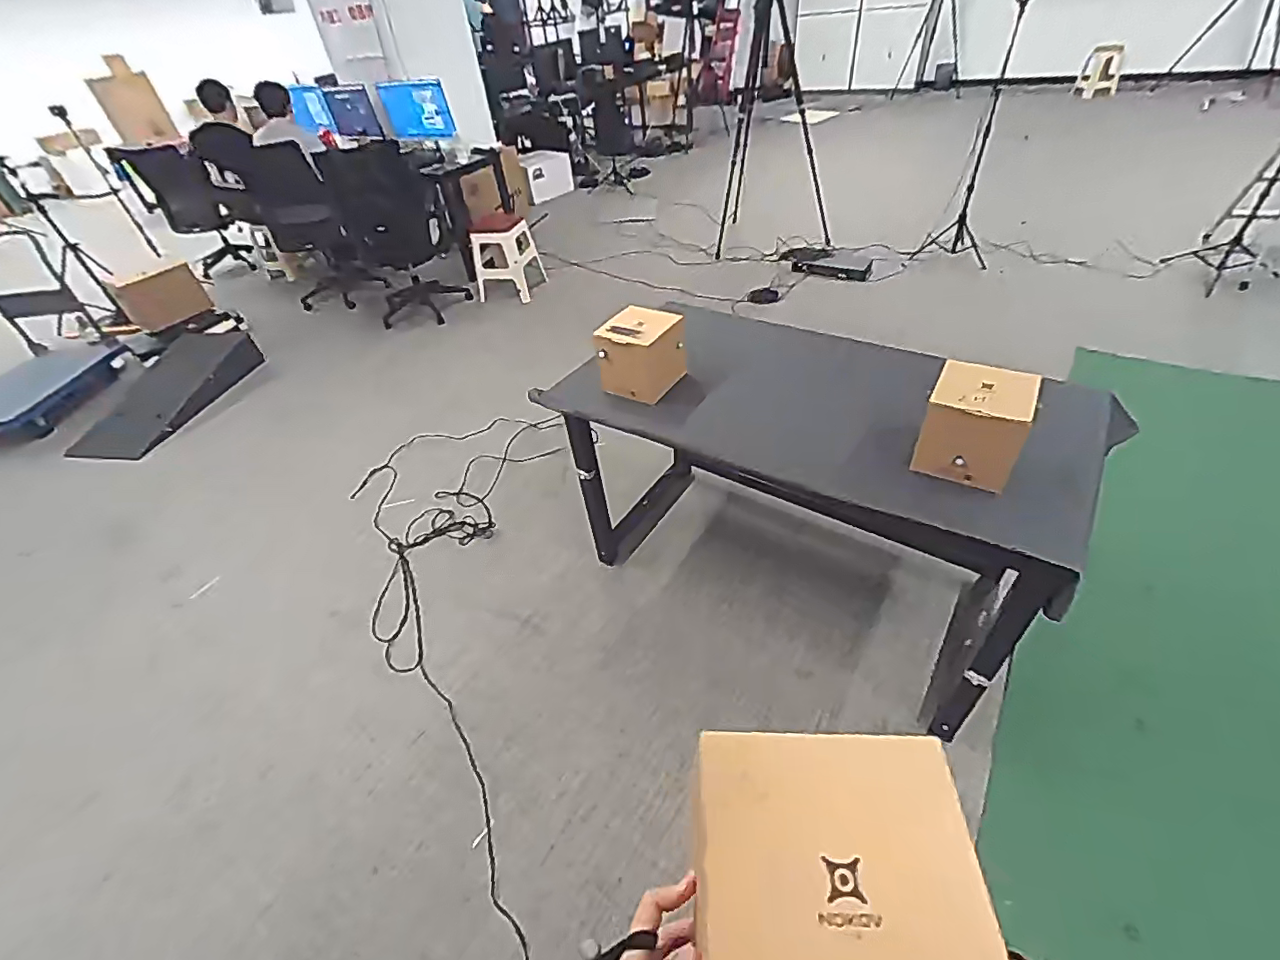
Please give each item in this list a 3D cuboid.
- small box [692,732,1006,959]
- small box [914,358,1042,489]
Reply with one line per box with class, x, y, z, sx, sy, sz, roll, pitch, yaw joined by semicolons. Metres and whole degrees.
small box;0.124;0.298;0.381;0.168;0.176;0.179;0;49;3
small box;0.658;-0.113;1.065;0.168;0.176;0.179;19;48;29
